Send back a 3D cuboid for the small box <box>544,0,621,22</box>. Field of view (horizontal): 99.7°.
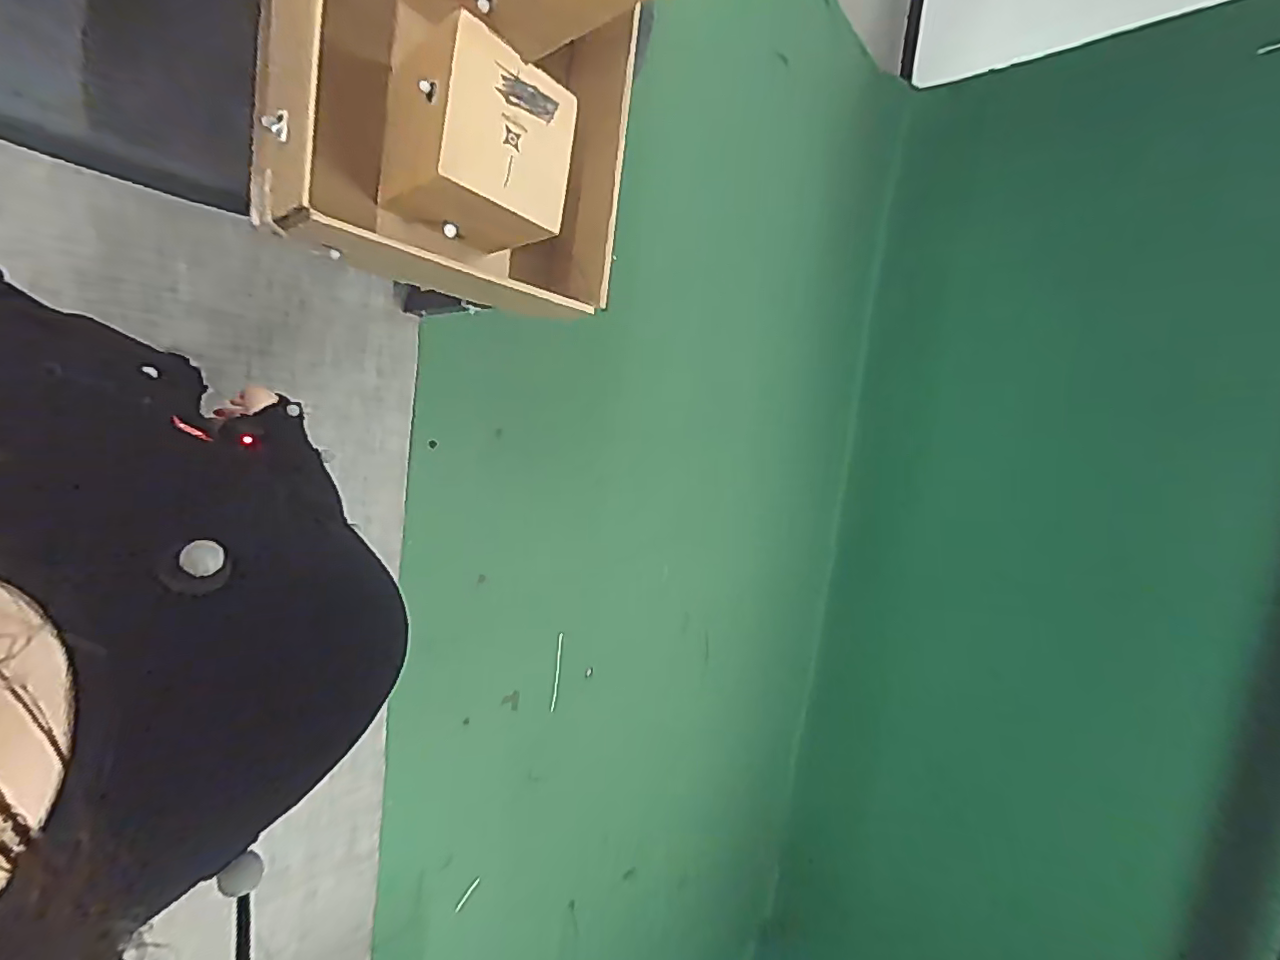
[{"bbox_3d":[-0.062,-0.626,0.551,0.179,0.176,0.168,0,101,-48],"label":"small box"}]
